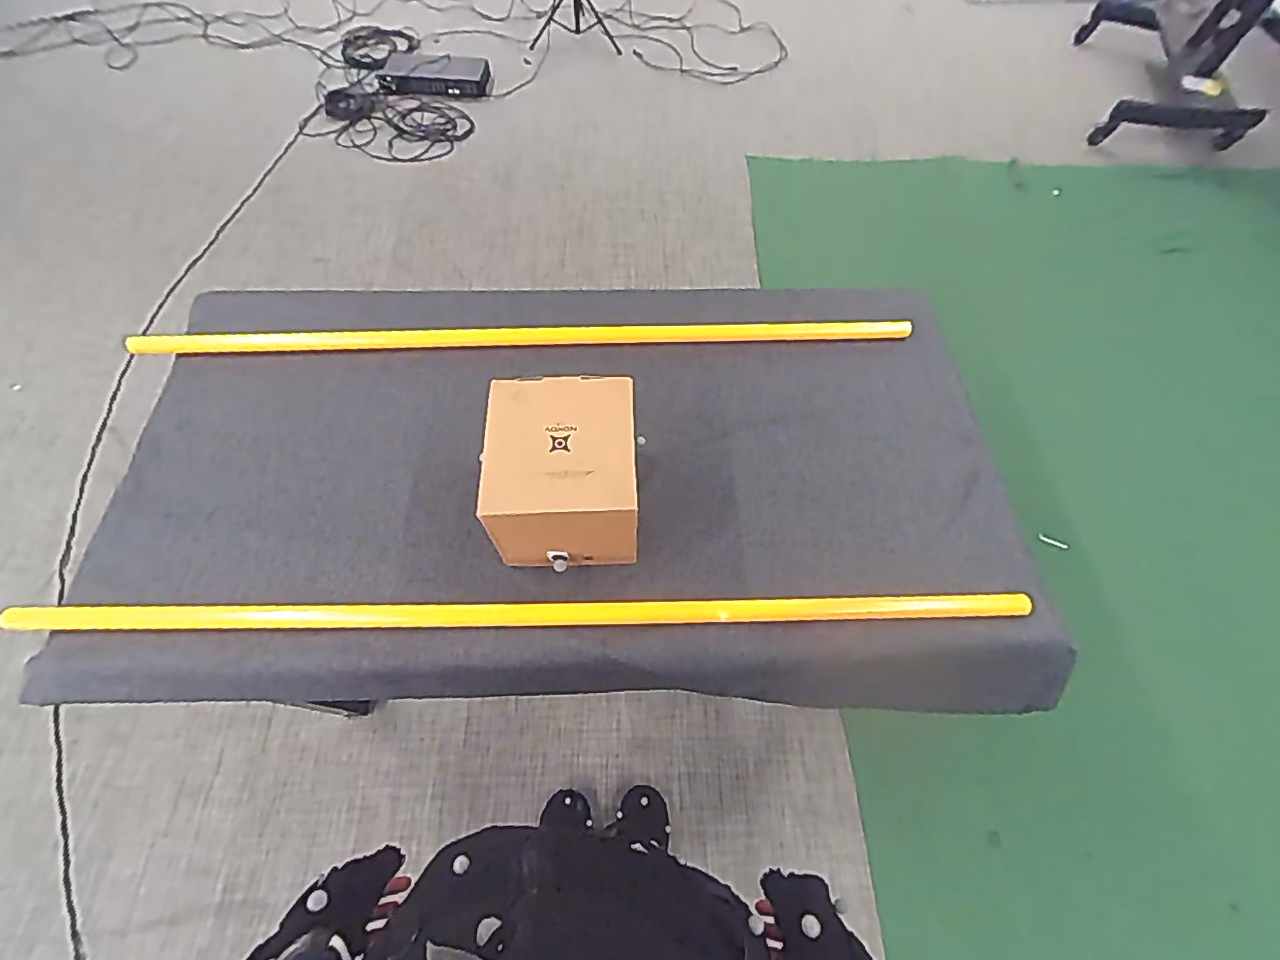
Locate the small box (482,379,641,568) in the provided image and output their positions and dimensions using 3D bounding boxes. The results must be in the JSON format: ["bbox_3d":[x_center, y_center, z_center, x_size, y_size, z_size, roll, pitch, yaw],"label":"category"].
[{"bbox_3d":[-0.086,-0.003,0.667,0.168,0.176,0.179,-3,63,-2],"label":"small box"}]
